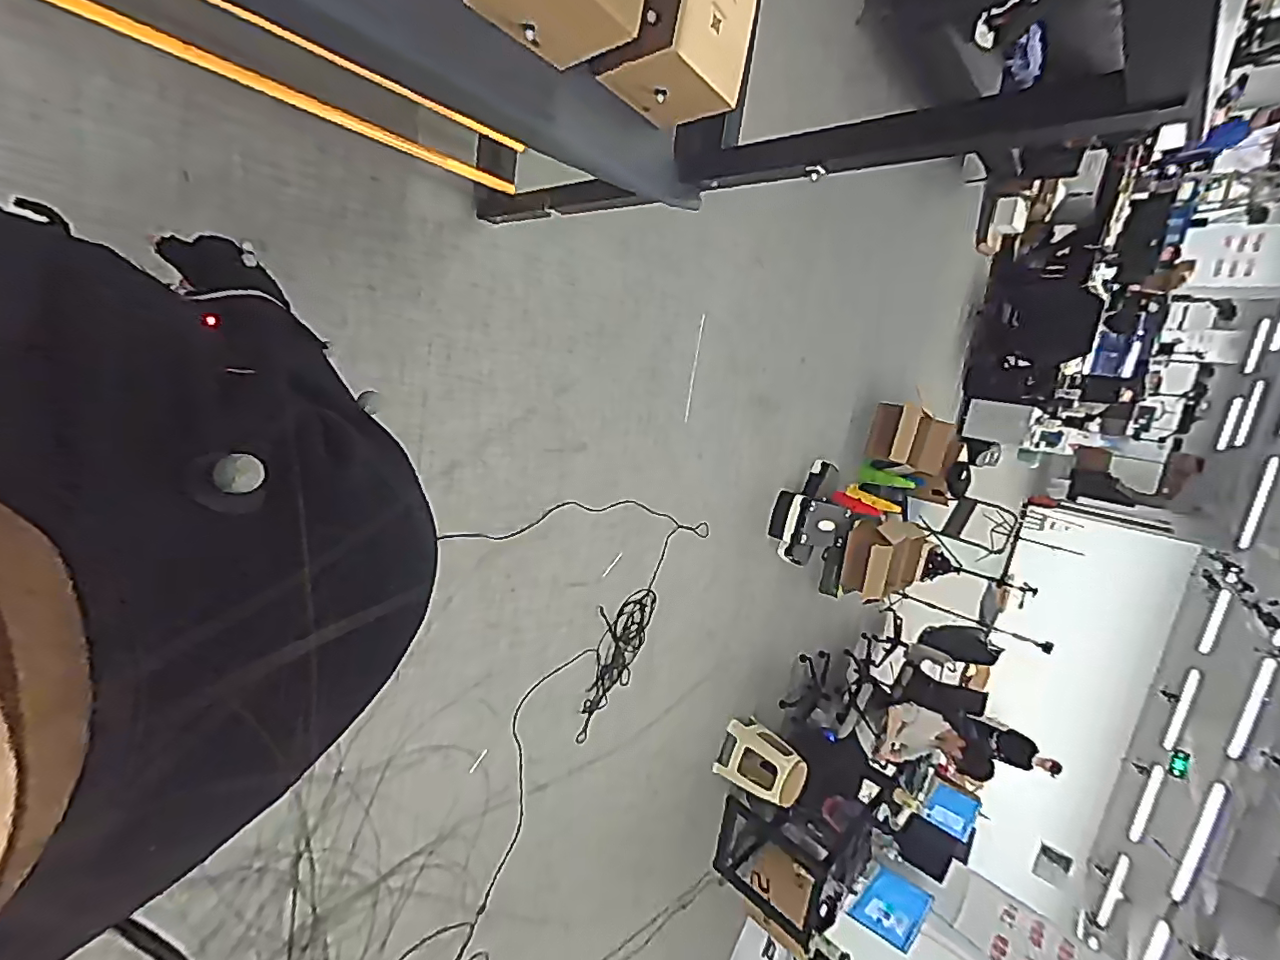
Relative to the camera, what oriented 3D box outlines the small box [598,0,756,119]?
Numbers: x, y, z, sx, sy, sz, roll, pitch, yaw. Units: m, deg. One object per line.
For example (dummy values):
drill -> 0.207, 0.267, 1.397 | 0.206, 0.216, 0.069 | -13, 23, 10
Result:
small box -> 0.055, -0.711, 0.854 | 0.168, 0.176, 0.179 | 2, 102, -48
